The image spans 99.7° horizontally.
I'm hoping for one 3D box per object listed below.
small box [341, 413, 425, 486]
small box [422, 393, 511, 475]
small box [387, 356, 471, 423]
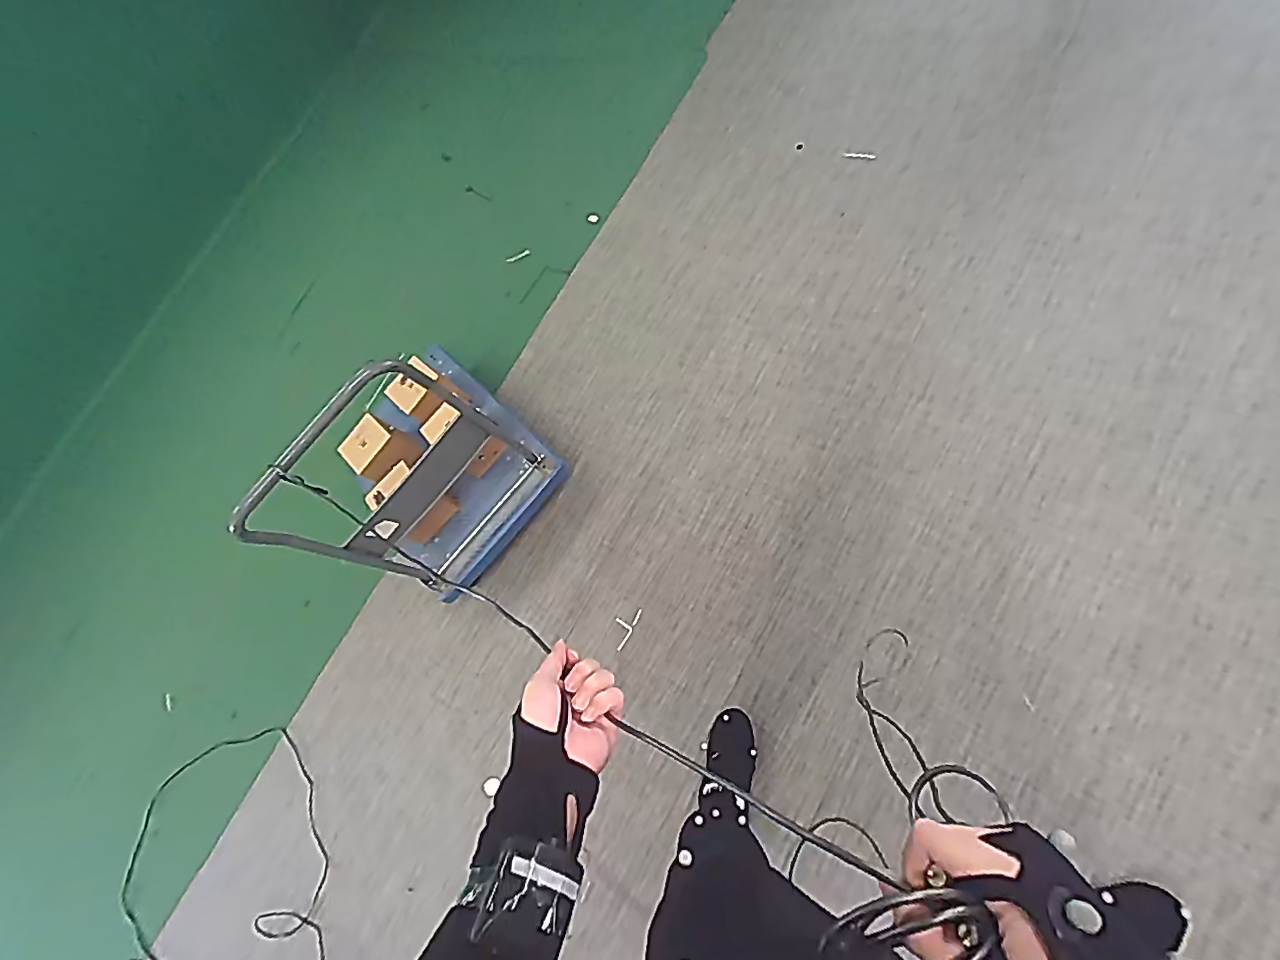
[{"bbox_3d":[-0.886,-0.098,1.877,0.179,0.176,0.168,37,87,31],"label":"small box"},{"bbox_3d":[-0.557,-0.142,1.748,0.168,0.176,0.179,-48,59,0],"label":"small box"},{"bbox_3d":[-0.732,-0.296,1.887,0.179,0.176,0.168,37,89,30],"label":"small box"}]
